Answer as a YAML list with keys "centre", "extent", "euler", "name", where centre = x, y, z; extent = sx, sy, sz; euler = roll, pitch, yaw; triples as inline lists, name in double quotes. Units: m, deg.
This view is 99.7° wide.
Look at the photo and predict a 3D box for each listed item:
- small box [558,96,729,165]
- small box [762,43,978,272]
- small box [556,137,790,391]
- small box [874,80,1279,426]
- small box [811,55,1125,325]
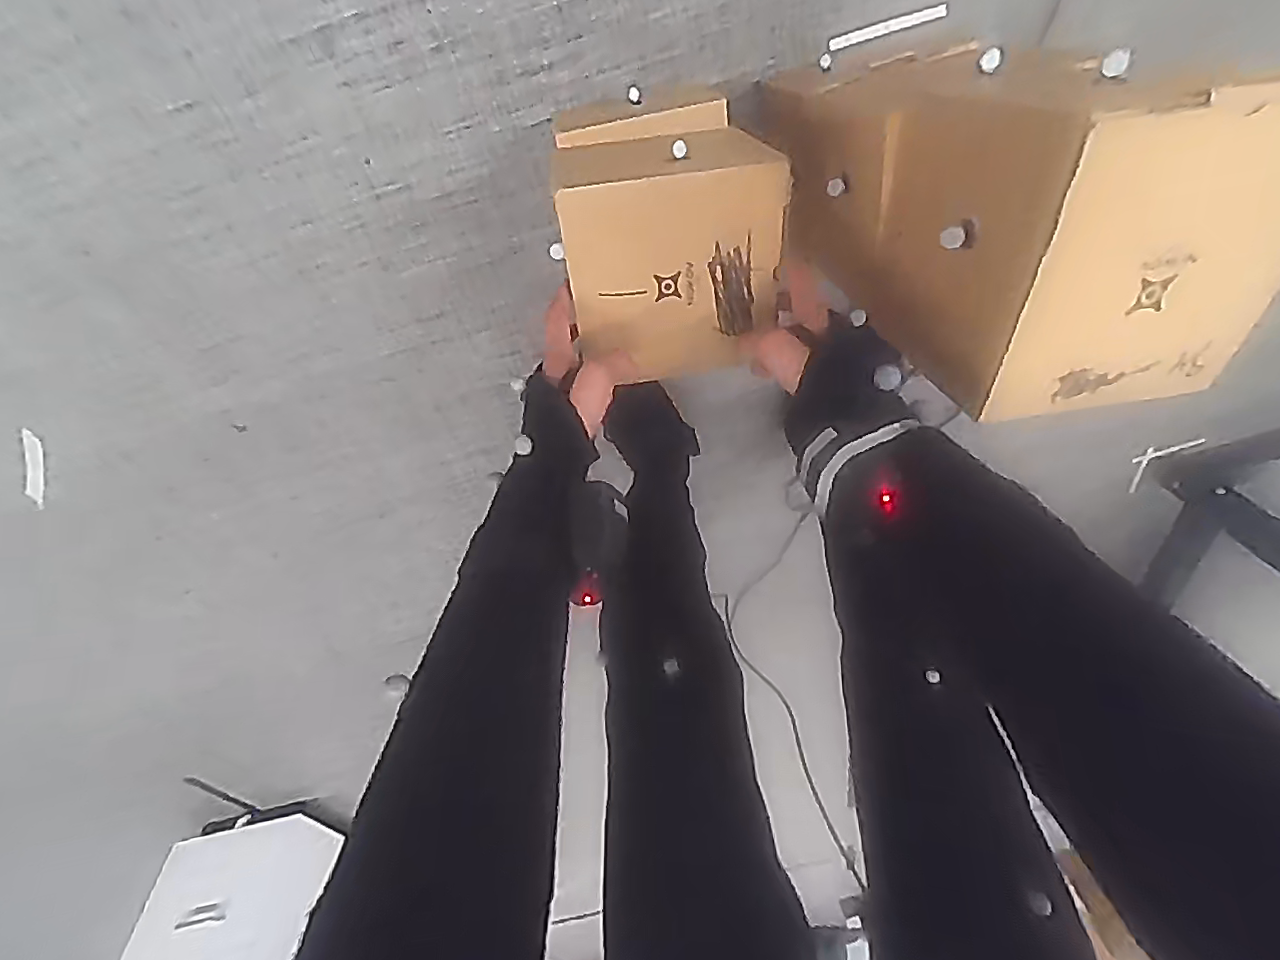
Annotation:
- centre: [0.004, -0.321, 0.618]
  extent: [0.168, 0.176, 0.179]
  euler: [-11, 130, 1]
  name: "small box"
- centre: [0.246, -0.371, 0.621]
  extent: [0.168, 0.176, 0.179]
  euler: [-15, 130, 4]
  name: "small box"
- centre: [0.021, -0.205, 0.502]
  extent: [0.179, 0.176, 0.168]
  euler: [-8, 130, -2]
  name: "small box"
- centre: [0.286, -0.163, 0.373]
  extent: [0.168, 0.176, 0.179]
  euler: [-8, 129, -2]
  name: "small box"
- centre: [0.267, -0.268, 0.497]
  extent: [0.179, 0.176, 0.168]
  euler: [-14, 130, 2]
  name: "small box"
